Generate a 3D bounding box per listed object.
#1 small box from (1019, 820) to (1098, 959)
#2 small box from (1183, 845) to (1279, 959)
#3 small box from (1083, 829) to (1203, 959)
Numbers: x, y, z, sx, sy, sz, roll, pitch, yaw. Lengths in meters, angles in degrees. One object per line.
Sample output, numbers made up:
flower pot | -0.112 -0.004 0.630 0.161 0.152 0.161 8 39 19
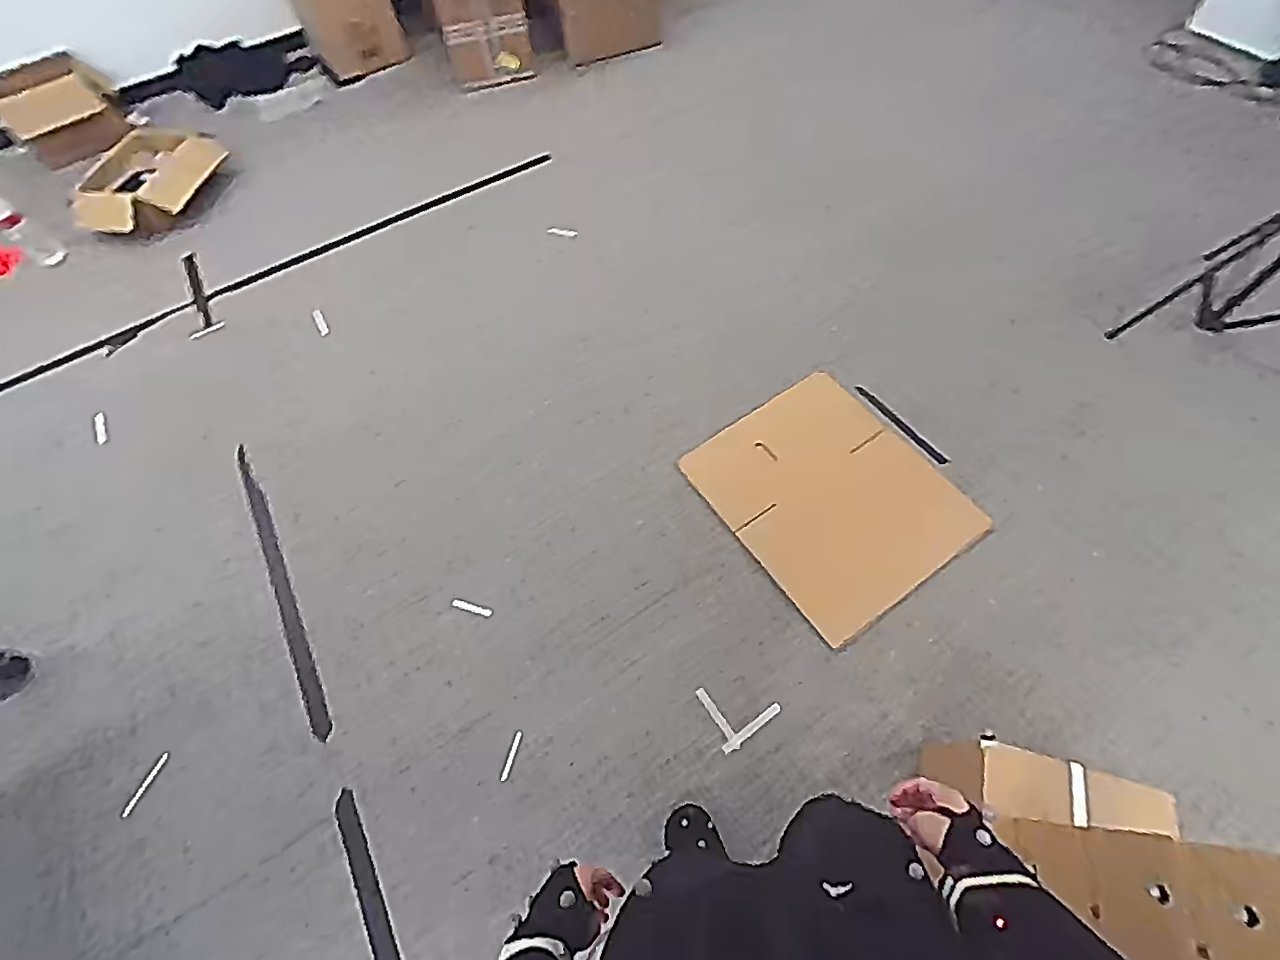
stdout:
small box | 0.706 0.629 0.809 0.179 0.176 0.168 13 63 12
small box | 0.683 0.475 0.521 0.179 0.176 0.168 13 63 11
small box | 0.698 0.551 0.664 0.179 0.176 0.168 13 63 11
